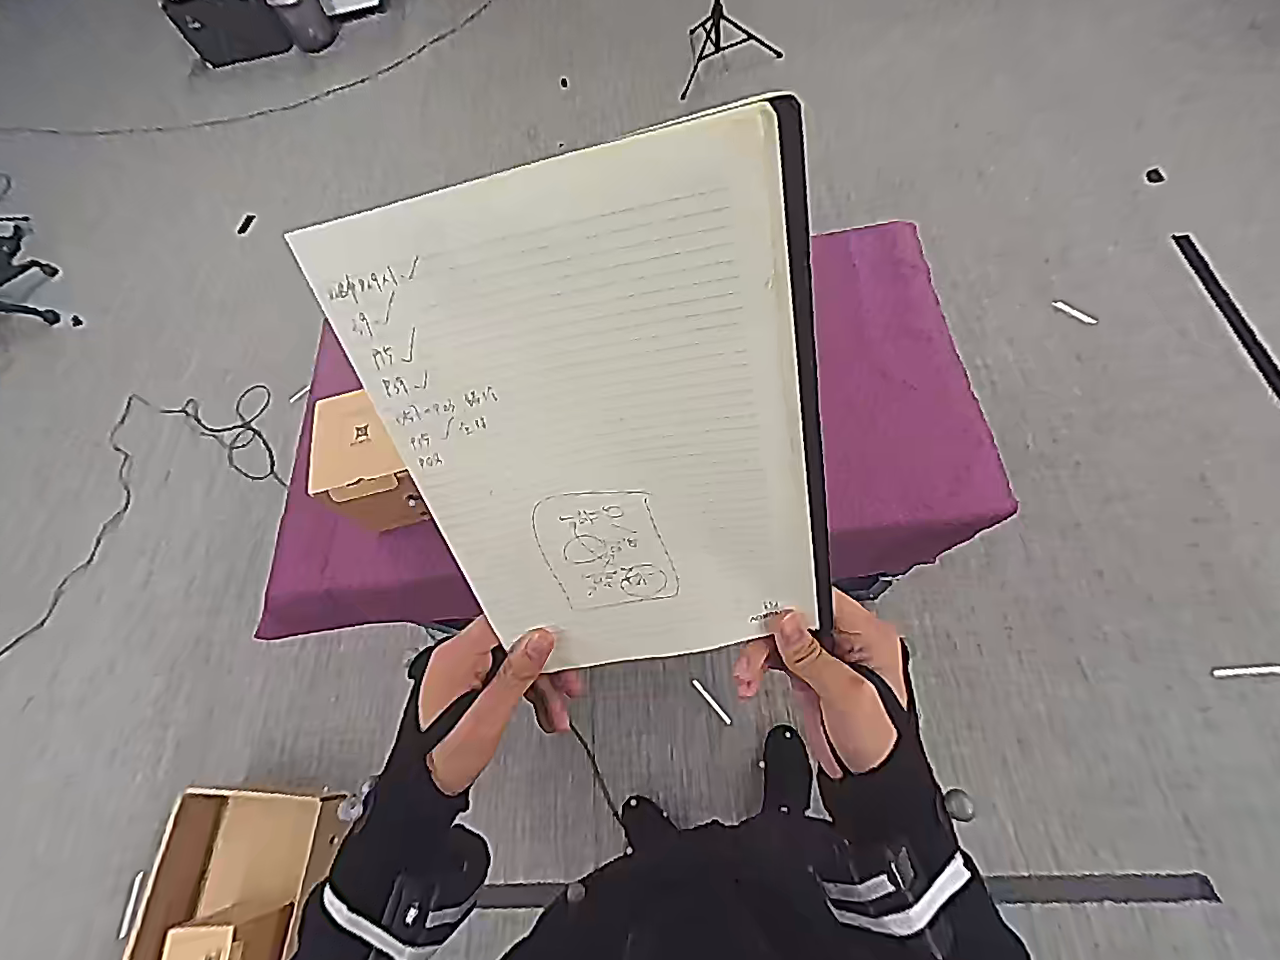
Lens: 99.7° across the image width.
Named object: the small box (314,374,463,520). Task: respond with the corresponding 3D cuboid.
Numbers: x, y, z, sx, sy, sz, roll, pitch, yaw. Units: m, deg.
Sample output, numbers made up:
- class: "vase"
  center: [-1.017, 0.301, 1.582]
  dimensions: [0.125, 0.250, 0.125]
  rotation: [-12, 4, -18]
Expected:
- class: "small box"
  center: [-0.408, -0.044, 0.905]
  dimensions: [0.168, 0.176, 0.179]
  rotation: [-13, 64, 2]
